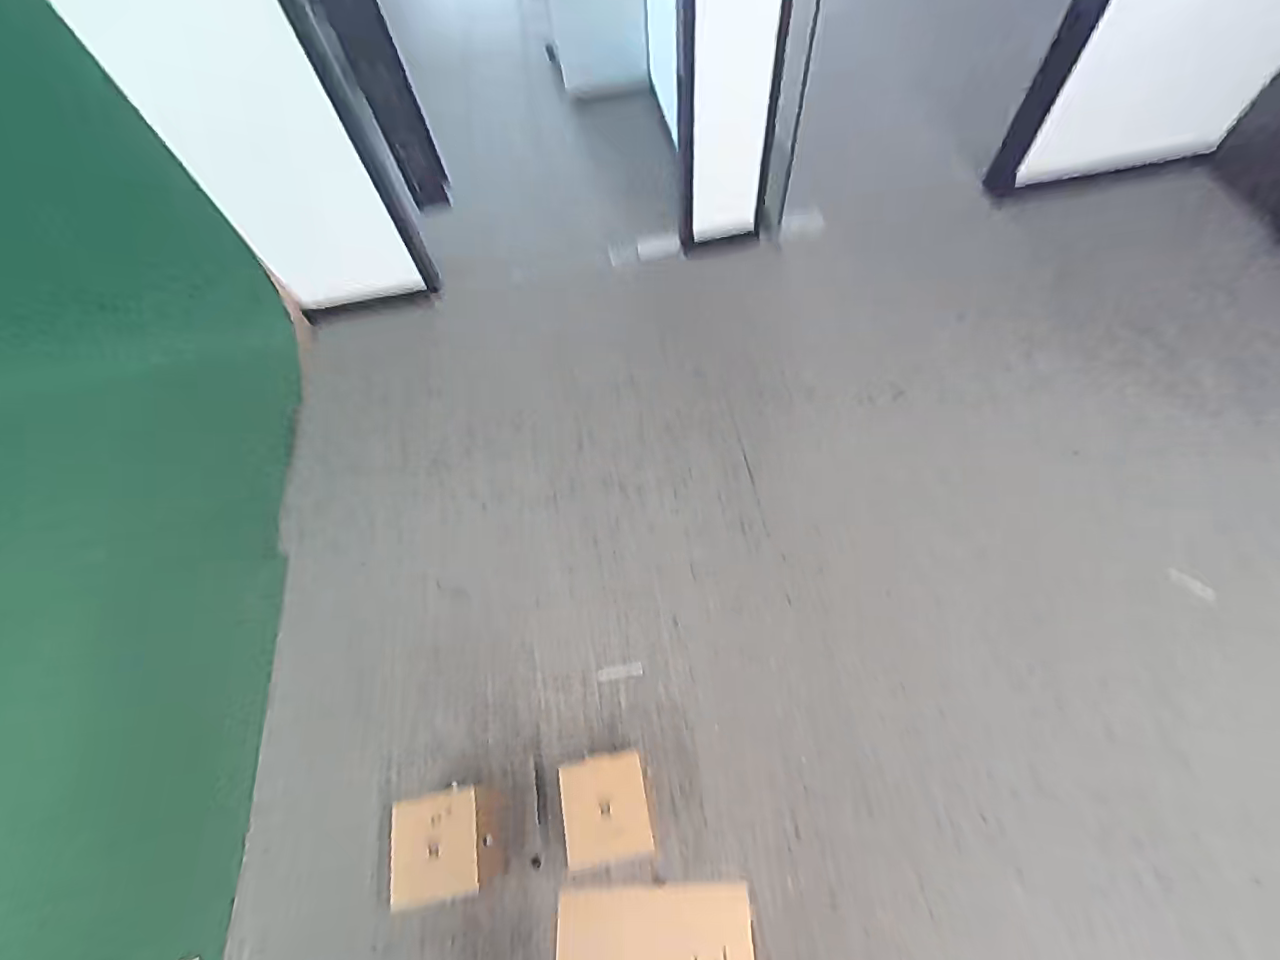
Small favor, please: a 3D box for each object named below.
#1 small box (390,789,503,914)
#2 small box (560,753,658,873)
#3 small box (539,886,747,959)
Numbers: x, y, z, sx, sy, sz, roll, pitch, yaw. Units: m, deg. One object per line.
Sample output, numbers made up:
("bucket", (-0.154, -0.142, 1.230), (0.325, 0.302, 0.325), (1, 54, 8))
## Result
("small box", (-0.382, 0.738, 1.092), (0.168, 0.176, 0.179), (-11, 60, -2))
("small box", (-0.060, 0.672, 1.102), (0.168, 0.176, 0.179), (-11, 61, -1))
("small box", (-0.003, 0.471, 0.488), (0.179, 0.176, 0.168), (2, 52, -5))
